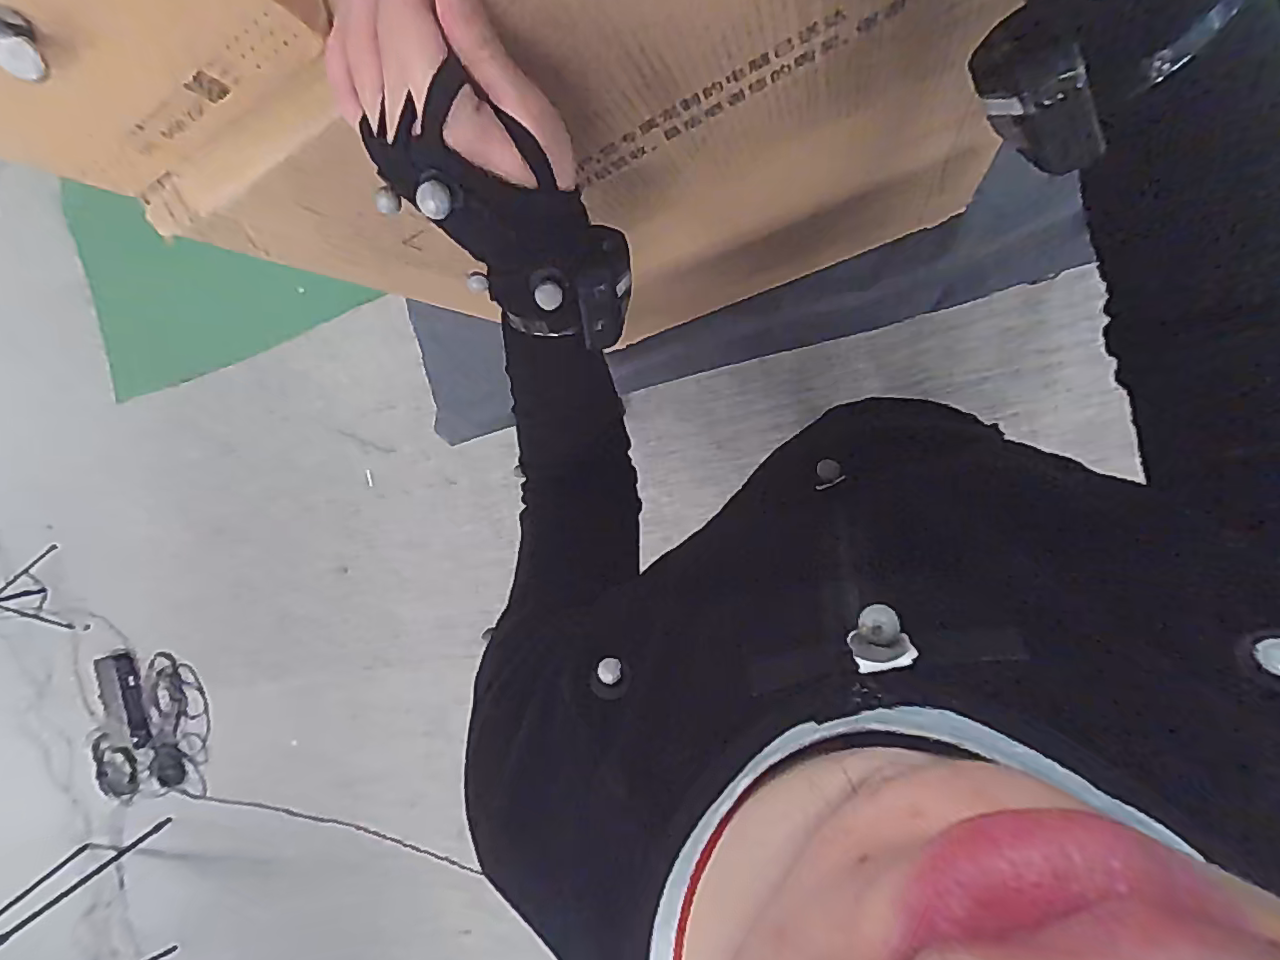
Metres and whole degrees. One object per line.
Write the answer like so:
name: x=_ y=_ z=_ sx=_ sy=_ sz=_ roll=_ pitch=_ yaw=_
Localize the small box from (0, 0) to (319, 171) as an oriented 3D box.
small box: x=-0.258 y=-0.247 z=0.197 sx=0.168 sy=0.176 sz=0.179 roll=-14 pitch=92 yaw=22
